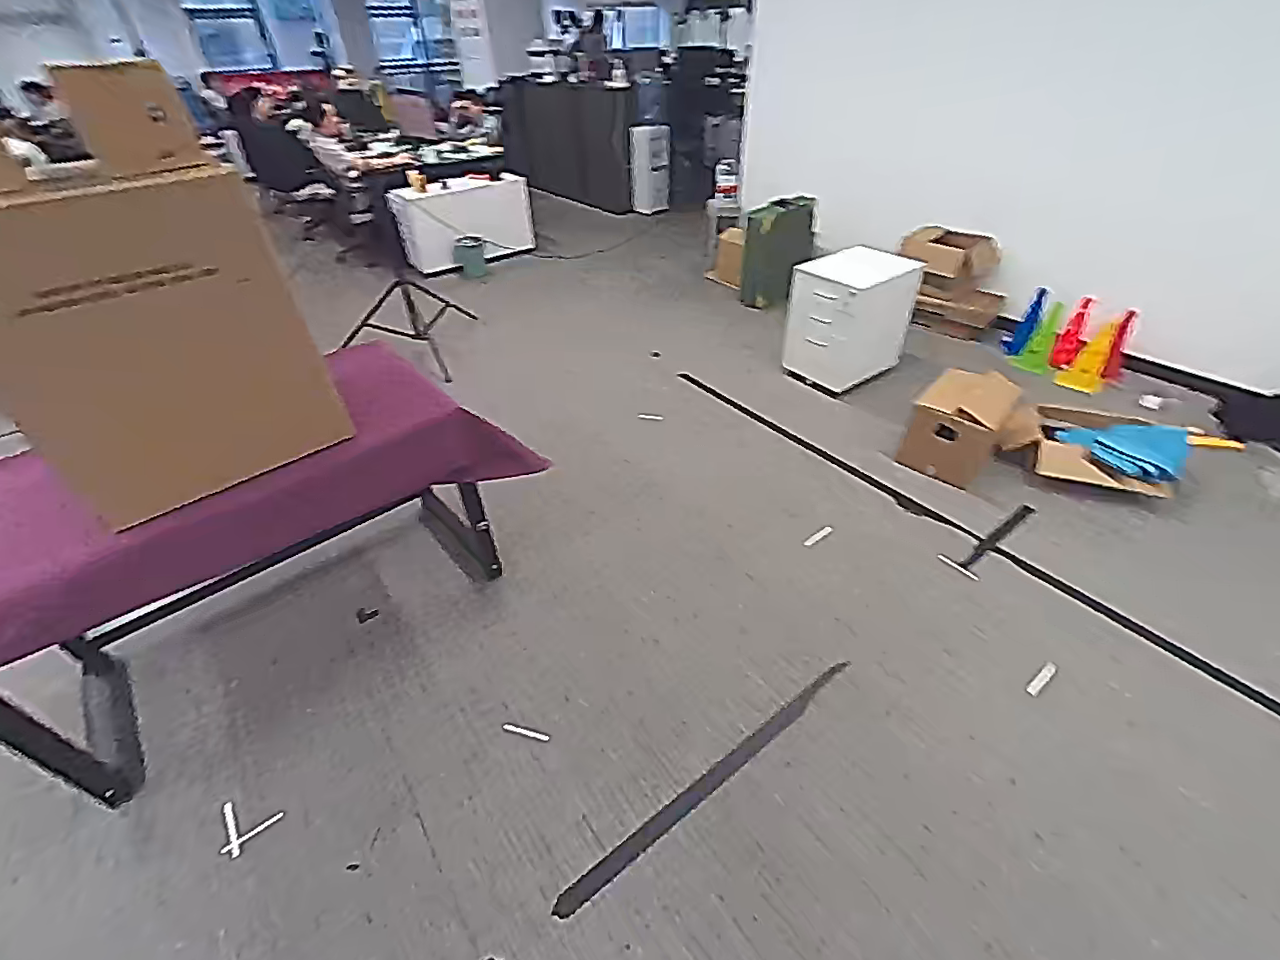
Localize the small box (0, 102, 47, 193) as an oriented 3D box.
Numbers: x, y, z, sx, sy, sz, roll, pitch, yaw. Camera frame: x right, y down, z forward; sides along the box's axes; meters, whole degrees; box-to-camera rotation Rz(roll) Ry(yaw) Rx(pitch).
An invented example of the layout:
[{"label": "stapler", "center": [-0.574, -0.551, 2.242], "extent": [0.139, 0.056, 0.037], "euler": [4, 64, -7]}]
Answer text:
[{"label": "small box", "center": [-1.154, -0.572, 0.892], "extent": [0.179, 0.176, 0.168], "euler": [-28, 47, -29]}]

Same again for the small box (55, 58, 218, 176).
[{"label": "small box", "center": [-0.950, -0.690, 1.030], "extent": [0.168, 0.176, 0.179], "euler": [-32, 47, -31]}]
